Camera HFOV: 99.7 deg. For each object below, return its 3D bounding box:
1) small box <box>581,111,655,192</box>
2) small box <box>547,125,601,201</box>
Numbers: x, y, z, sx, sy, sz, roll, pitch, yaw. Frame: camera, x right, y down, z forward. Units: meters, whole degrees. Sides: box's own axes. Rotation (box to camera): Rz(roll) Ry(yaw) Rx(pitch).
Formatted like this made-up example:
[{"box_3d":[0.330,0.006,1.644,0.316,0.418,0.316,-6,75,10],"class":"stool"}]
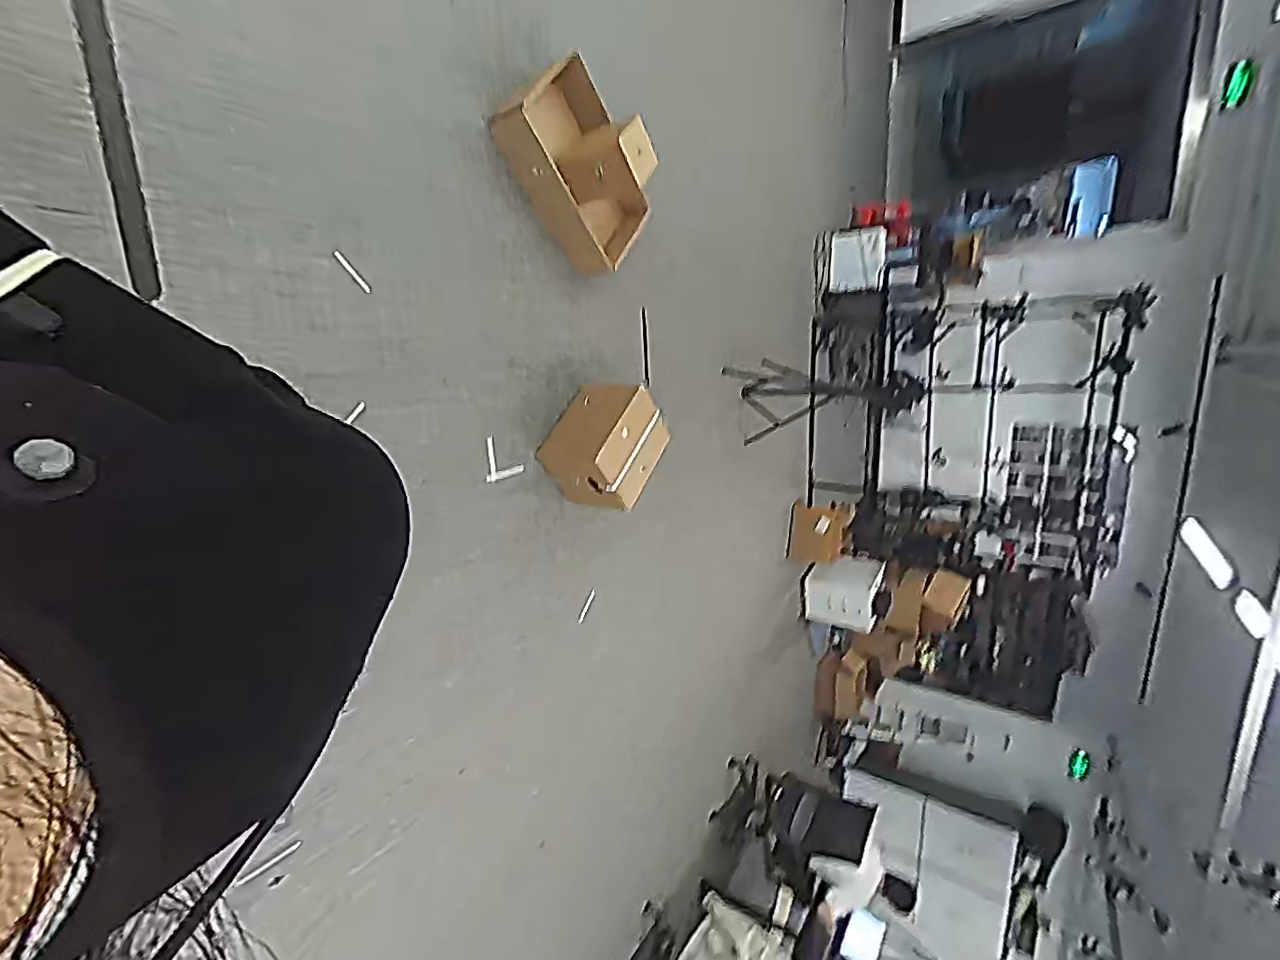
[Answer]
[{"box_3d":[-0.077,-1.147,1.894,0.168,0.176,0.179,53,53,-43],"class":"small box"},{"box_3d":[-0.210,-1.160,1.985,0.168,0.176,0.179,55,52,-42],"class":"small box"}]
